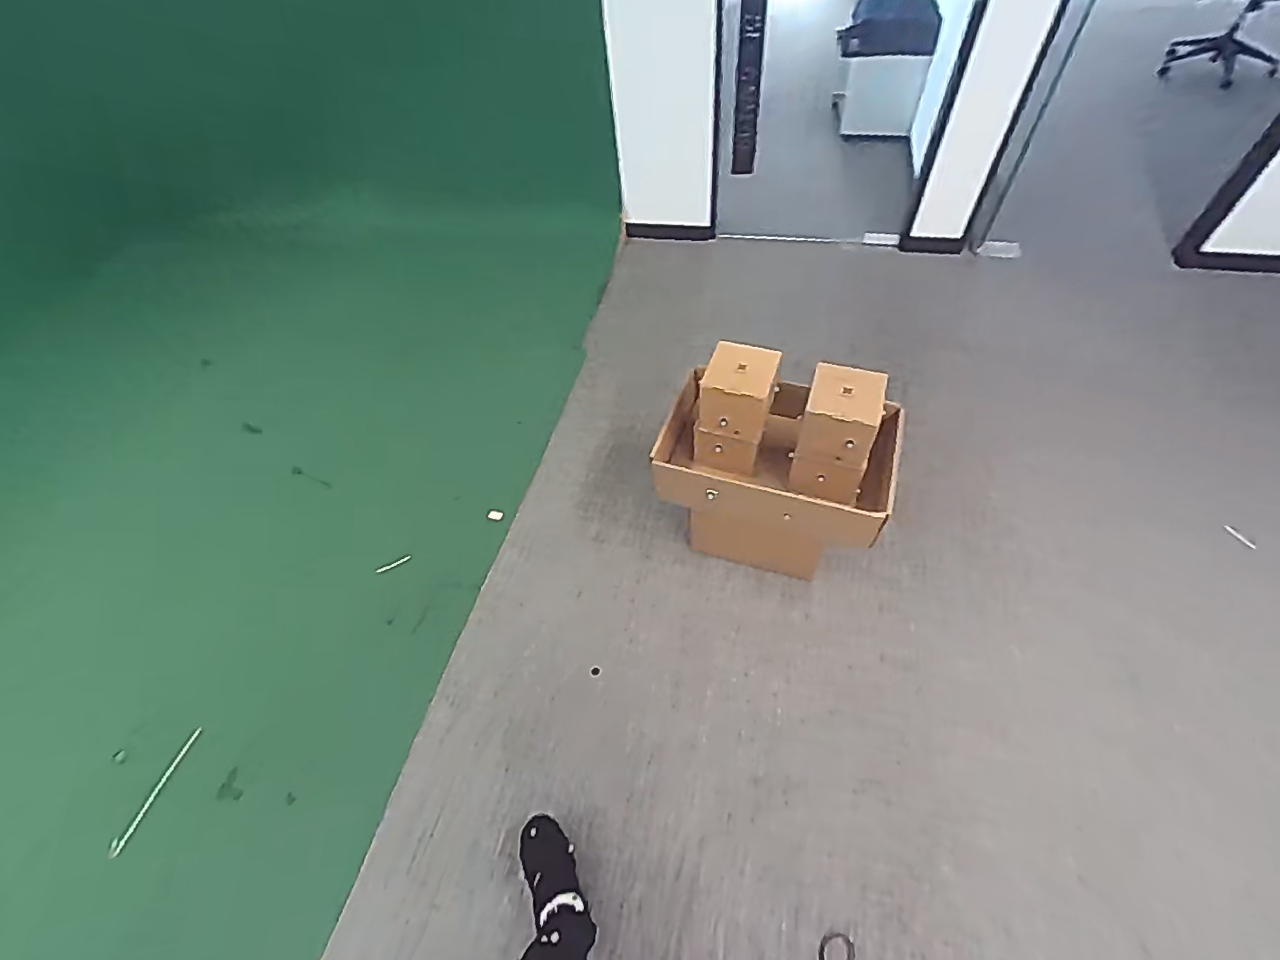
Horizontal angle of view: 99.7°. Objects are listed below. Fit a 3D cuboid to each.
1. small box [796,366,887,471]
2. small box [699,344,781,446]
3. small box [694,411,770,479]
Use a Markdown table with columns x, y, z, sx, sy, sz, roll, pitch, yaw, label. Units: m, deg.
| x | y | z | sx | sy | sz | roll | pitch | yaw | label |
| --- | --- | --- | --- | --- | --- | --- | --- | --- | --- |
| 0.489 | -0.147 | 1.325 | 0.168 | 0.176 | 0.179 | 15 | 55 | 15 | small box |
| 0.255 | -0.219 | 1.403 | 0.168 | 0.176 | 0.179 | 15 | 56 | 15 | small box |
| 0.258 | -0.125 | 1.537 | 0.179 | 0.176 | 0.168 | 16 | 56 | 15 | small box |
